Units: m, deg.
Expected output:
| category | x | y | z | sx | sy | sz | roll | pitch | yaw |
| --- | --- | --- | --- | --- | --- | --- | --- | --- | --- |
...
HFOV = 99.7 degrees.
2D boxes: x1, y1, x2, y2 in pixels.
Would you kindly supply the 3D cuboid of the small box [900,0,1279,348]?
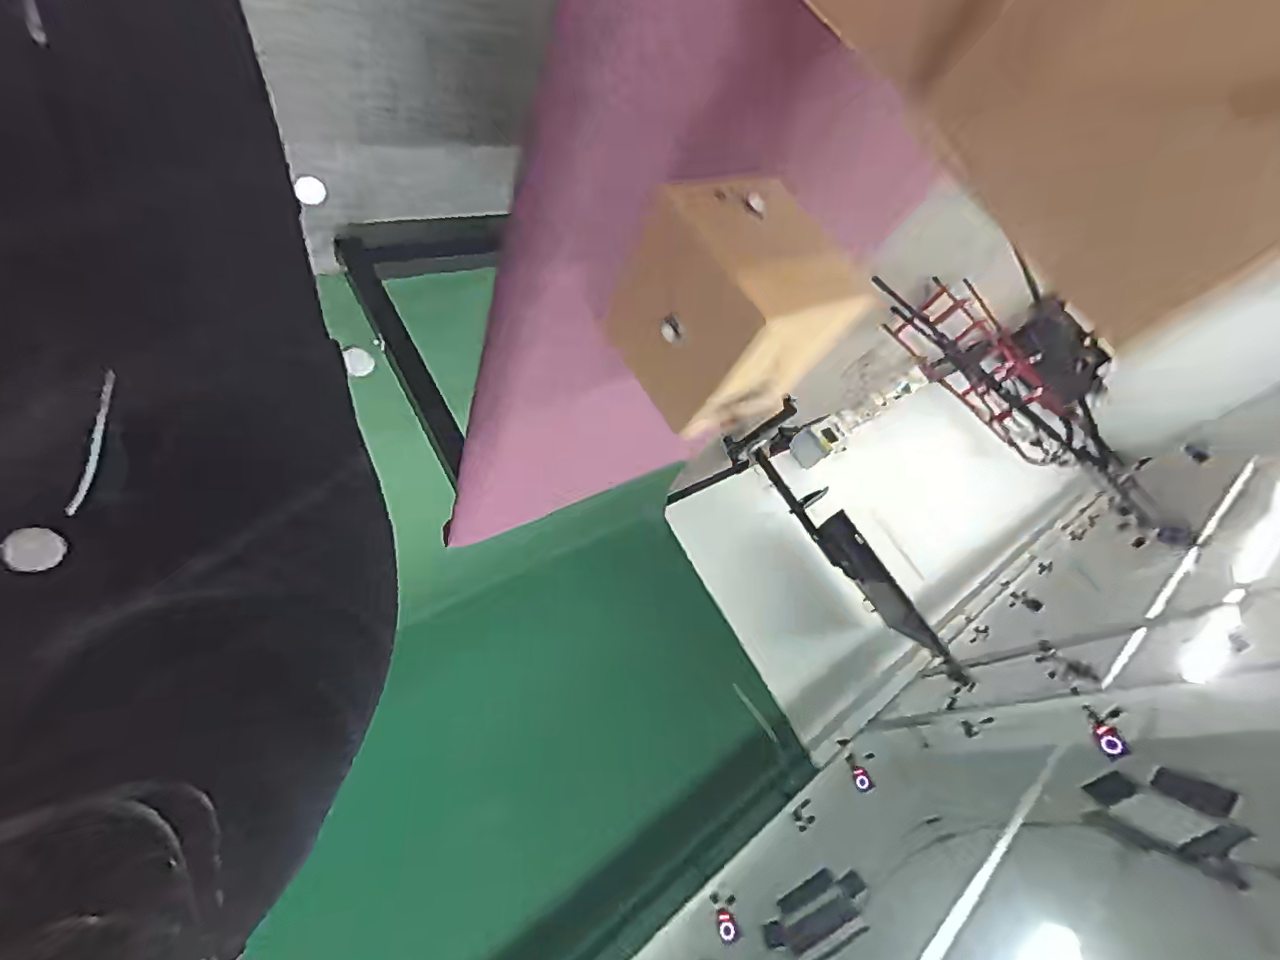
| category | x | y | z | sx | sy | sz | roll | pitch | yaw |
| --- | --- | --- | --- | --- | --- | --- | --- | --- | --- |
| small box | 0.259 | -0.197 | 0.255 | 0.168 | 0.176 | 0.179 | -24 | 164 | -29 |
